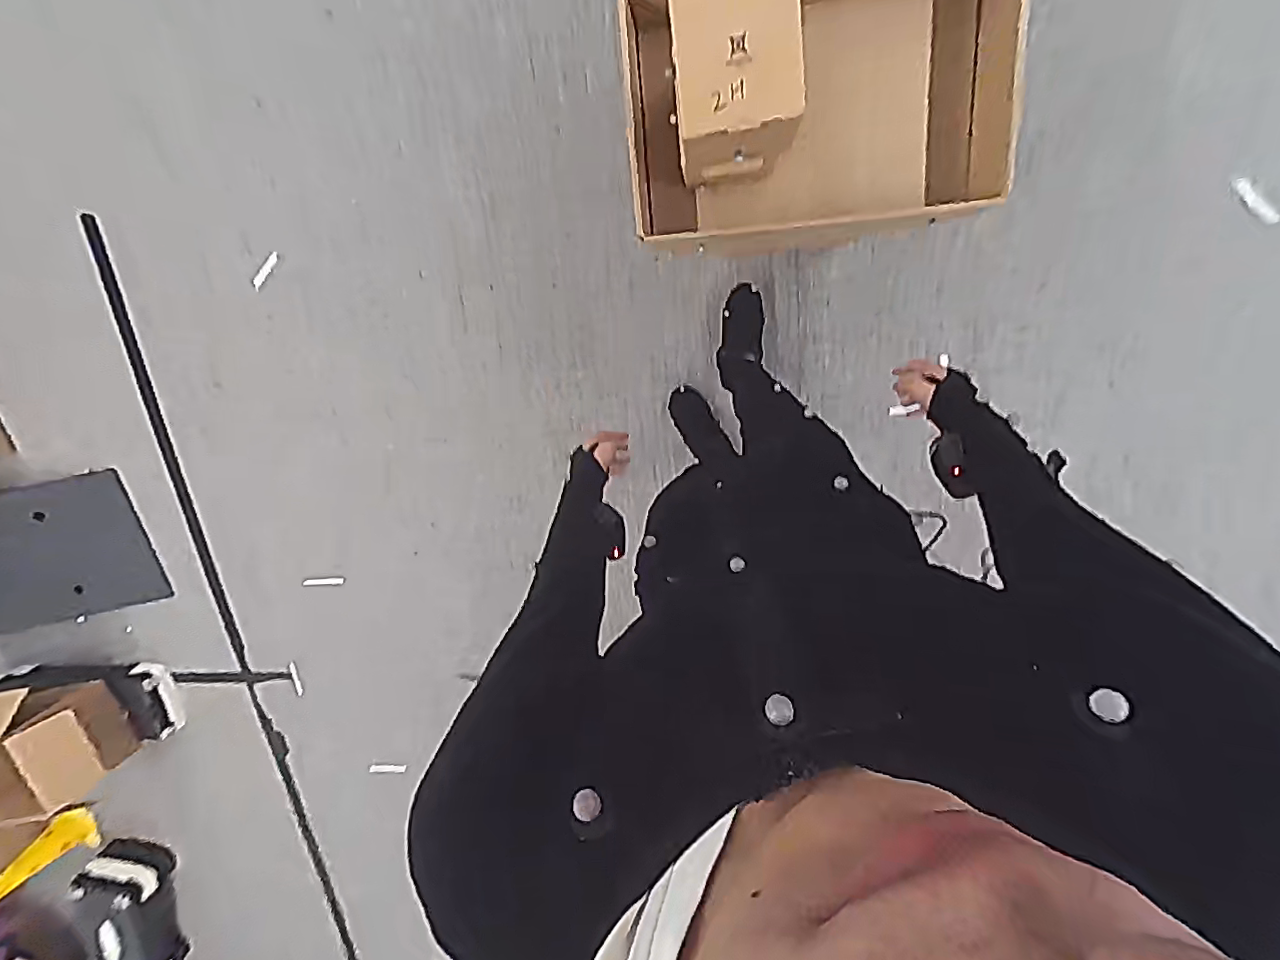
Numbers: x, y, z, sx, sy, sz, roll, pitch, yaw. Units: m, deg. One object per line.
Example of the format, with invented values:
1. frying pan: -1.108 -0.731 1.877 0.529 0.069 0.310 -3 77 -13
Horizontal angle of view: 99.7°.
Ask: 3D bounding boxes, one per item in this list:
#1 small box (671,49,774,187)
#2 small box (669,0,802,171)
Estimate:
1. small box: 0.147 -0.626 0.939 0.168 0.176 0.179 -4 105 8
2. small box: 0.134 -0.576 0.782 0.168 0.176 0.179 -5 106 9
